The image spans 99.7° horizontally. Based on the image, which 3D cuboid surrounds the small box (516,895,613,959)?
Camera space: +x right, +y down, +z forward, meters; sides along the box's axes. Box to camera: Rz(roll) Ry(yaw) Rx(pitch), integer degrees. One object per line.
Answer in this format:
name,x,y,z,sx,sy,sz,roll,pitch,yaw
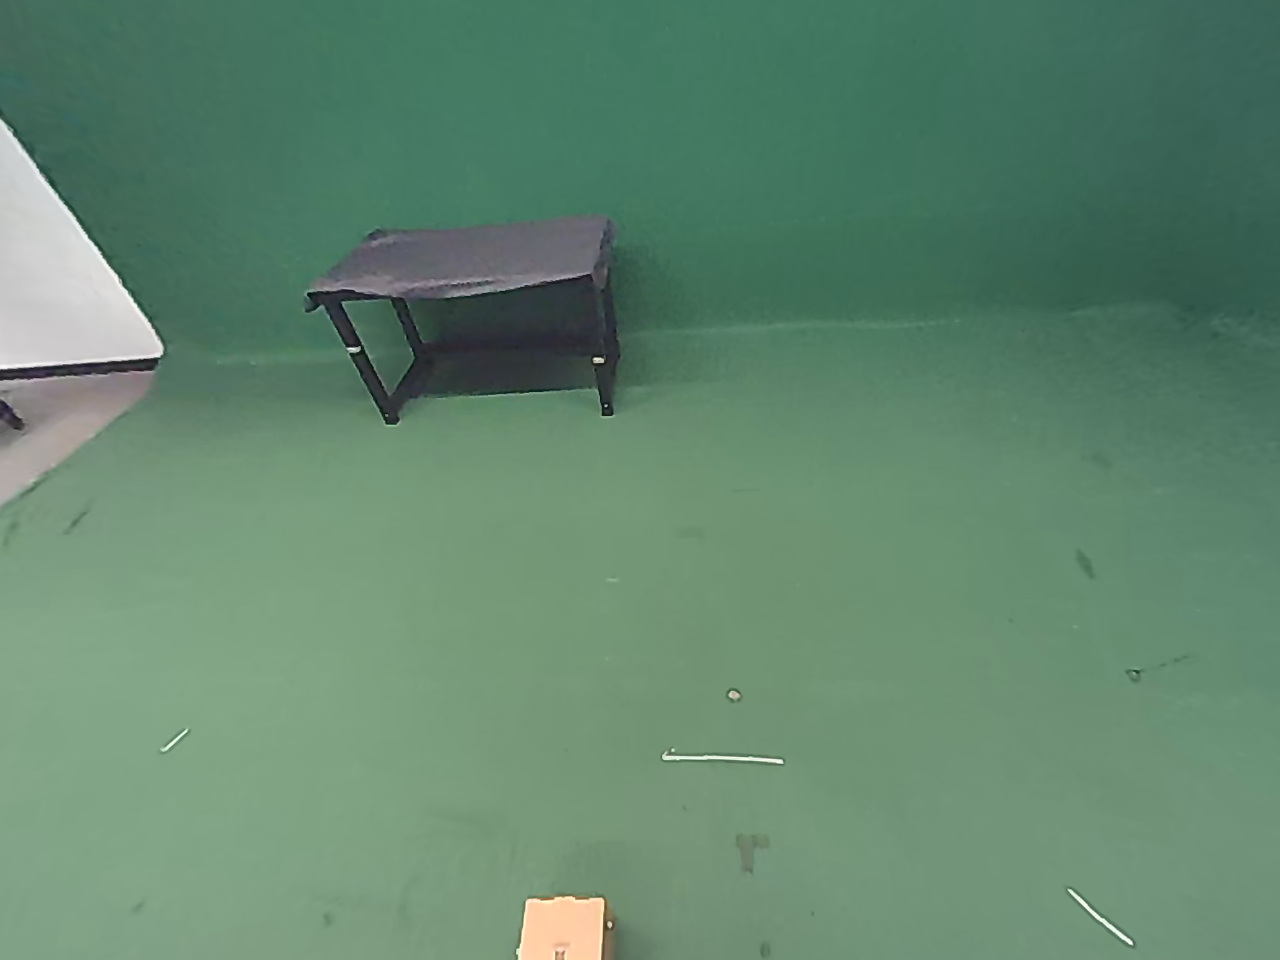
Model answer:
small box,-0.149,0.970,1.098,0.168,0.176,0.179,-4,42,4
